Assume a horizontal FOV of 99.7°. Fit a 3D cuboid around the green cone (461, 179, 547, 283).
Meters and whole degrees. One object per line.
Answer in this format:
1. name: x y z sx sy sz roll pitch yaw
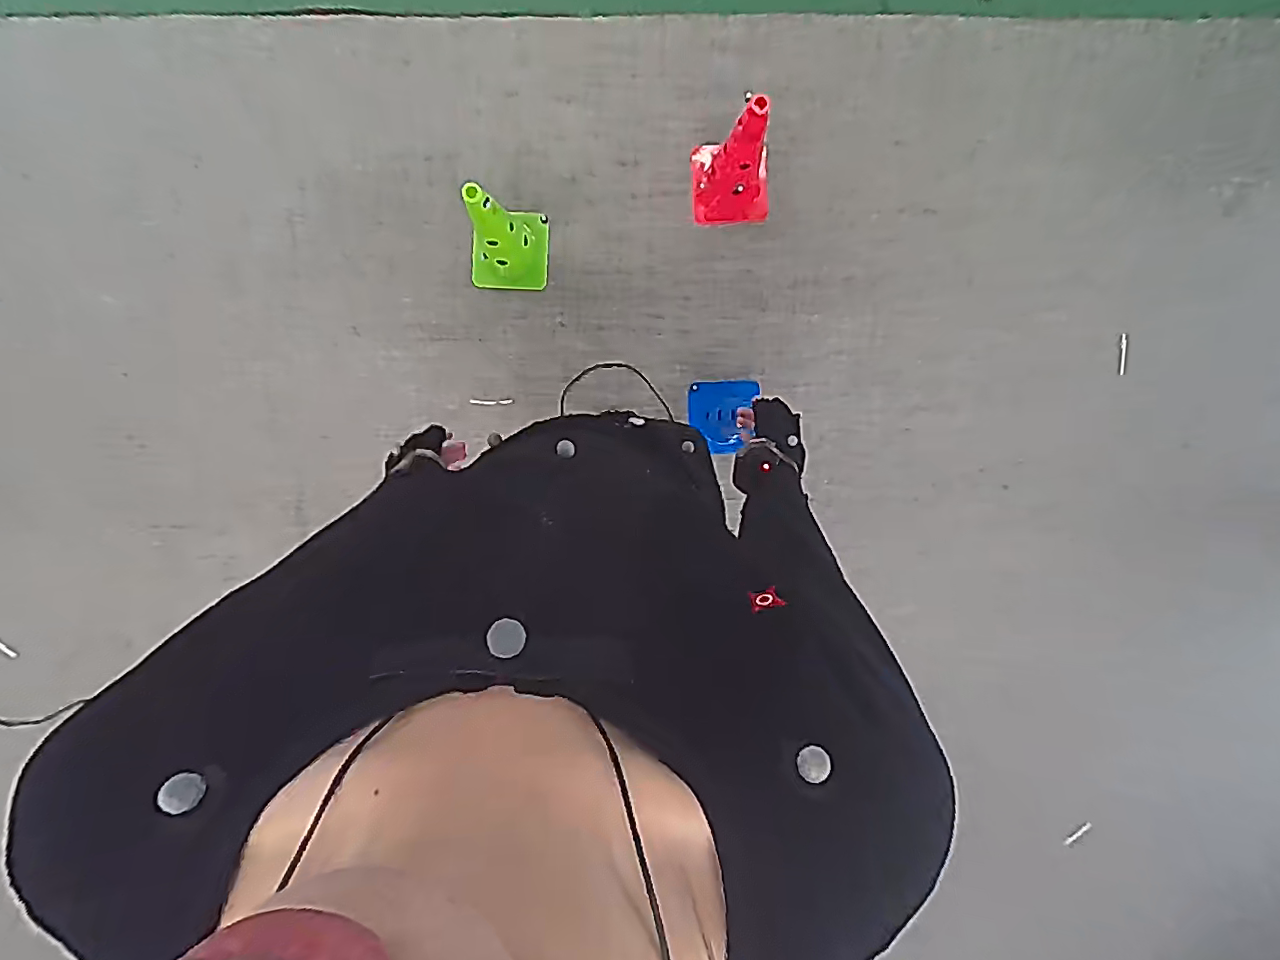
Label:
1. green cone: -0.346 -0.608 1.260 0.200 0.368 0.202 2 96 0
